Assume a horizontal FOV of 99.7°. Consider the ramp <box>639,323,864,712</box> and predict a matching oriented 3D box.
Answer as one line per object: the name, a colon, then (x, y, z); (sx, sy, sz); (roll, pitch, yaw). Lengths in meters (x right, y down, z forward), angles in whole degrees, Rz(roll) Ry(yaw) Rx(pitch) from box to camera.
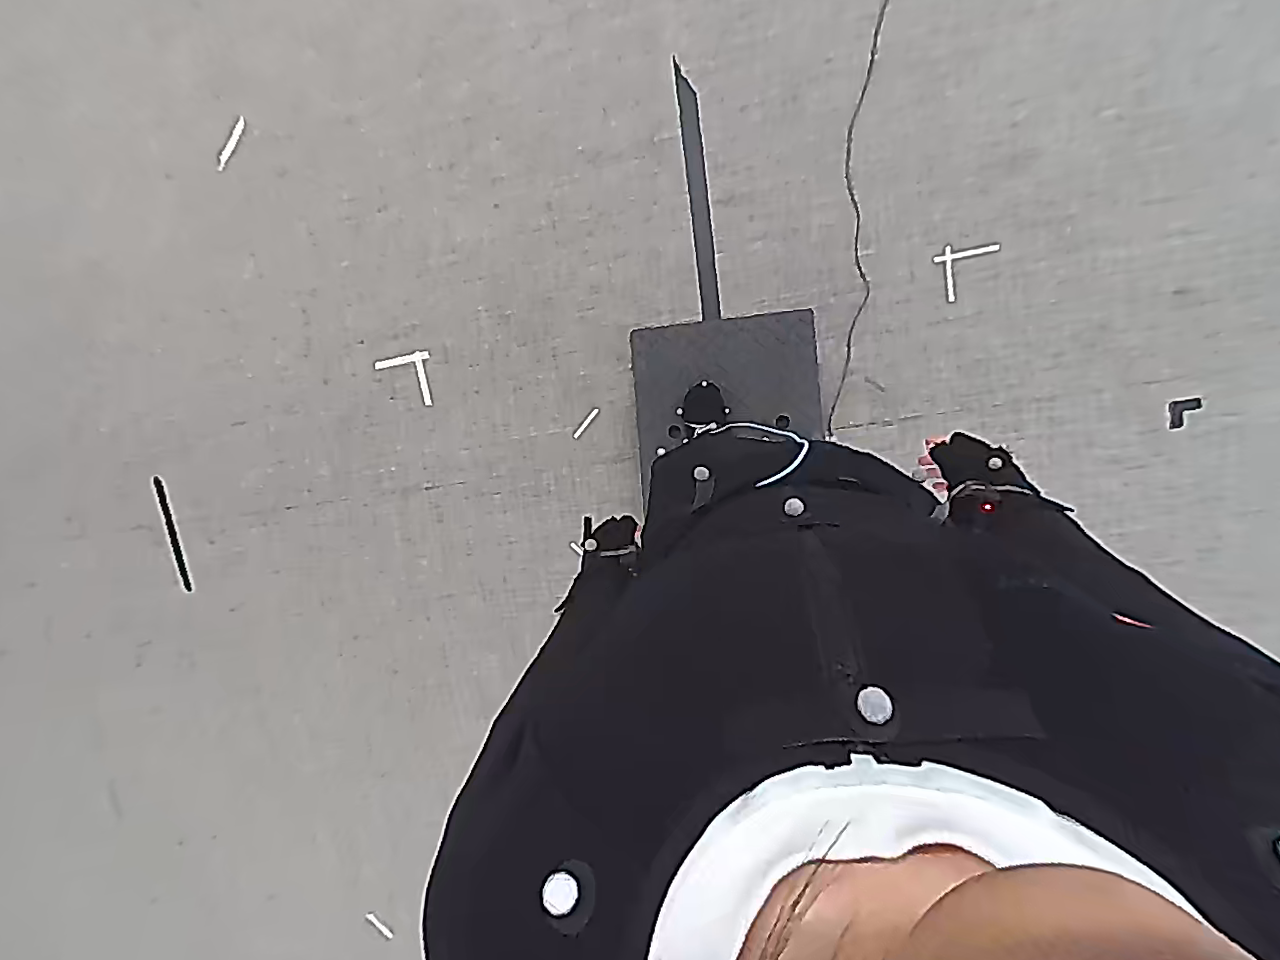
ramp: (0.279, 0.099, 1.444); (0.509, 0.206, 0.991); (-8, 95, 10)
